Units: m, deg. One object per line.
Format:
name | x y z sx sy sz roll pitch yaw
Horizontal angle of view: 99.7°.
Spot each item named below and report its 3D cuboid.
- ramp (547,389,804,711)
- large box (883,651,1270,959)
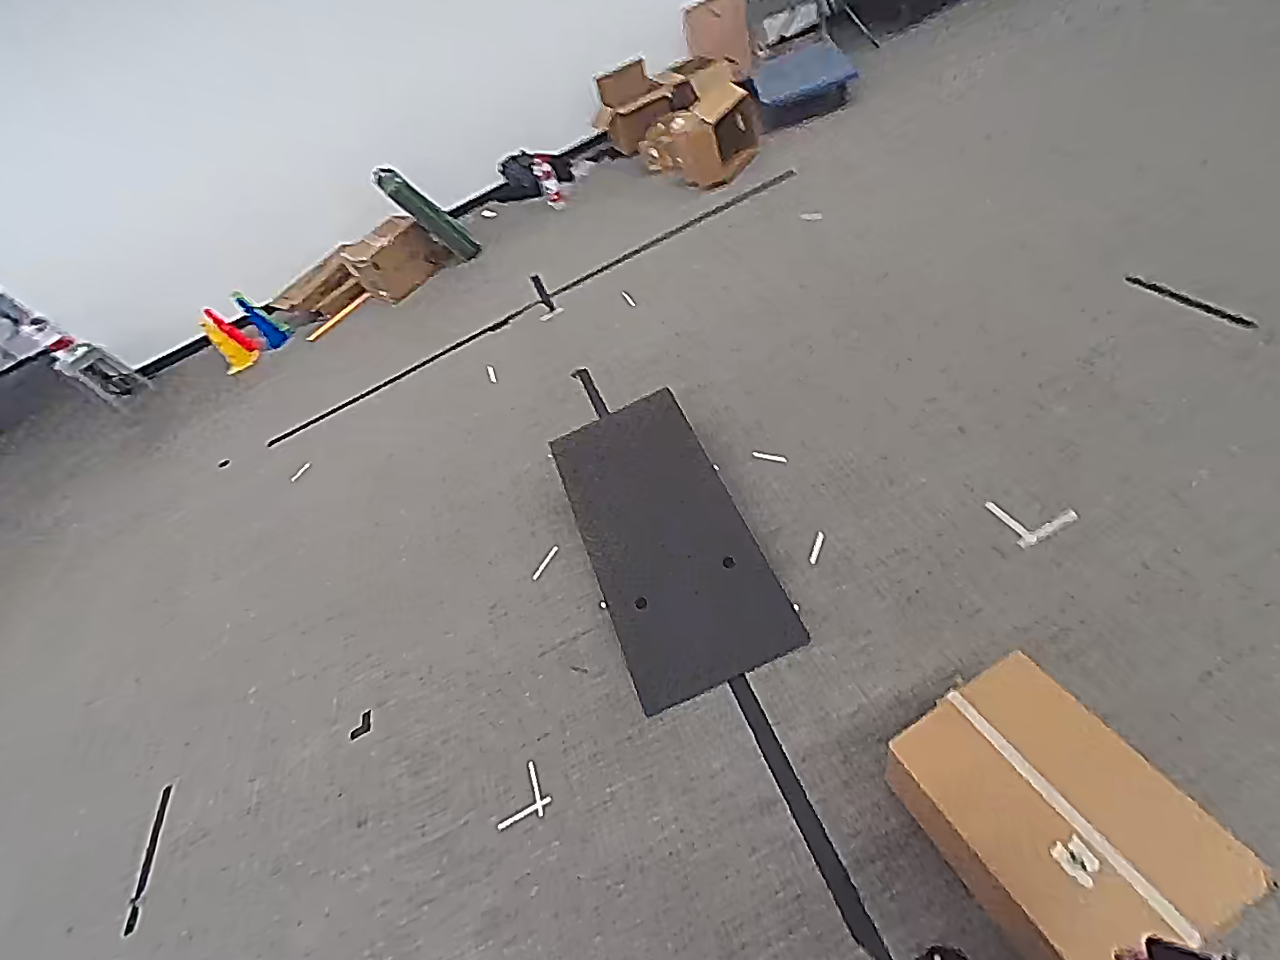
ramp | 0.056 0.148 1.724 0.509 0.206 0.991 -27 47 -1
large box | 0.715 0.606 0.986 0.320 0.320 0.408 -33 48 -5
